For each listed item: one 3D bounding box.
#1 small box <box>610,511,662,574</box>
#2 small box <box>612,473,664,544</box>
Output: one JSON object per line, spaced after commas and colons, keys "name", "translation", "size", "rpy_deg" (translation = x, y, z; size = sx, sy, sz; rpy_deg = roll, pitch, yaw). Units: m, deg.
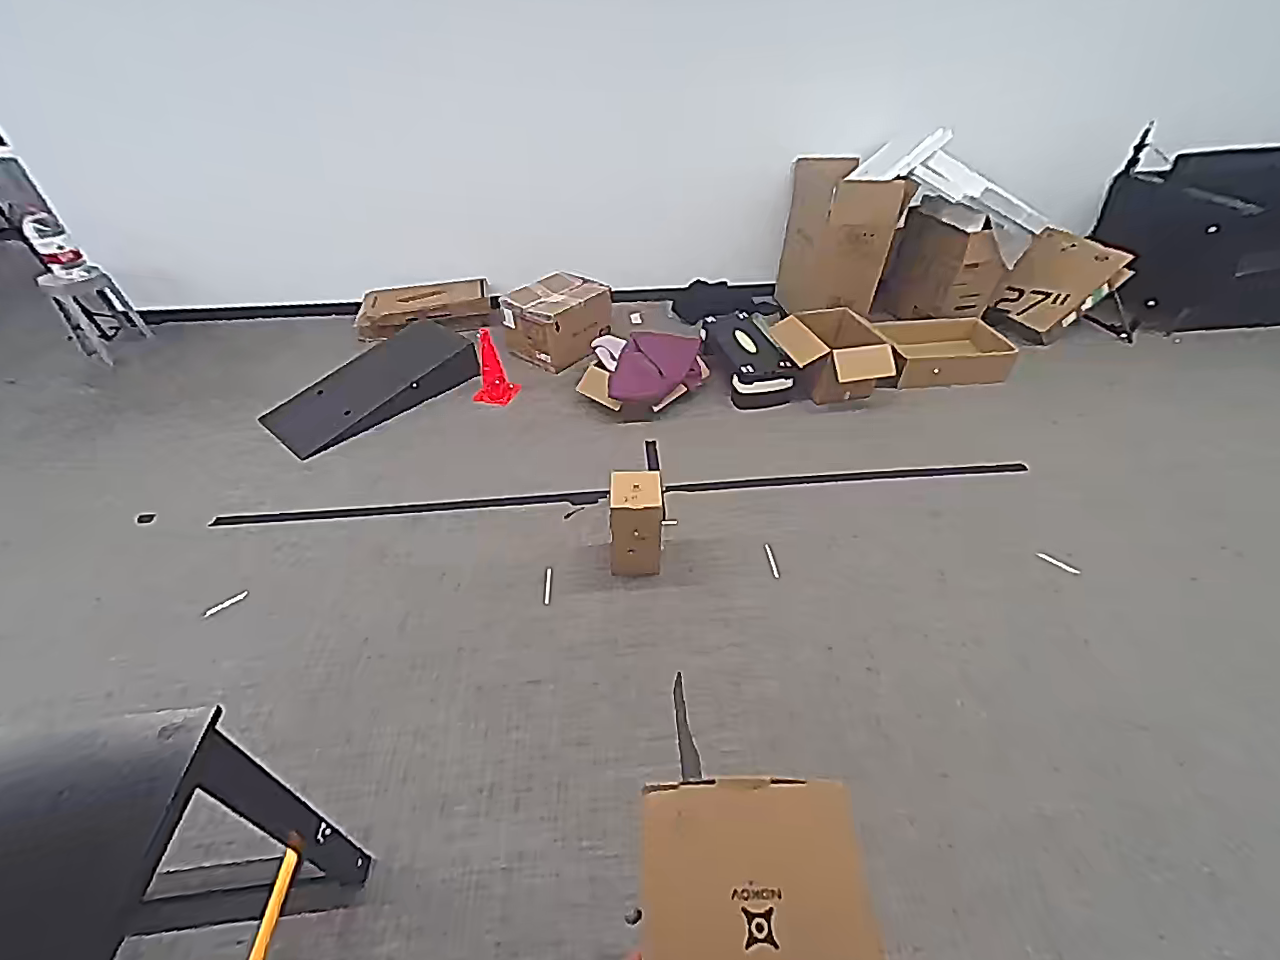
{"name": "small box", "translation": [-0.012, 0.220, 1.911], "size": [0.179, 0.176, 0.168], "rpy_deg": [0, 42, 0]}
{"name": "small box", "translation": [-0.007, 0.093, 1.806], "size": [0.168, 0.176, 0.179], "rpy_deg": [-1, 42, 0]}
